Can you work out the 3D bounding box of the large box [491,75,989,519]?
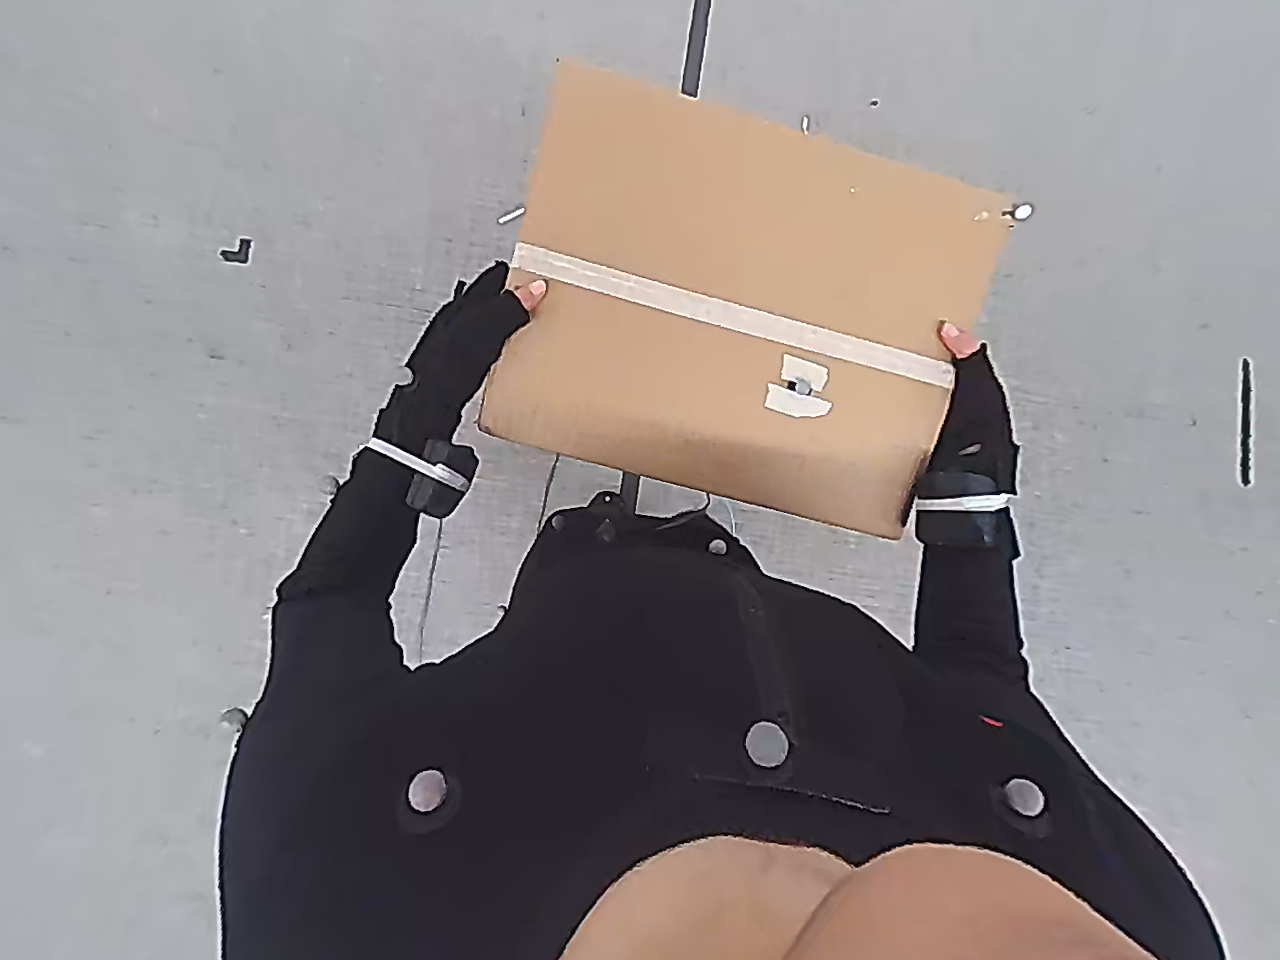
[{"bbox_3d":[0.080,-0.177,0.639,0.408,0.320,0.320,15,100,-5],"label":"large box"}]
